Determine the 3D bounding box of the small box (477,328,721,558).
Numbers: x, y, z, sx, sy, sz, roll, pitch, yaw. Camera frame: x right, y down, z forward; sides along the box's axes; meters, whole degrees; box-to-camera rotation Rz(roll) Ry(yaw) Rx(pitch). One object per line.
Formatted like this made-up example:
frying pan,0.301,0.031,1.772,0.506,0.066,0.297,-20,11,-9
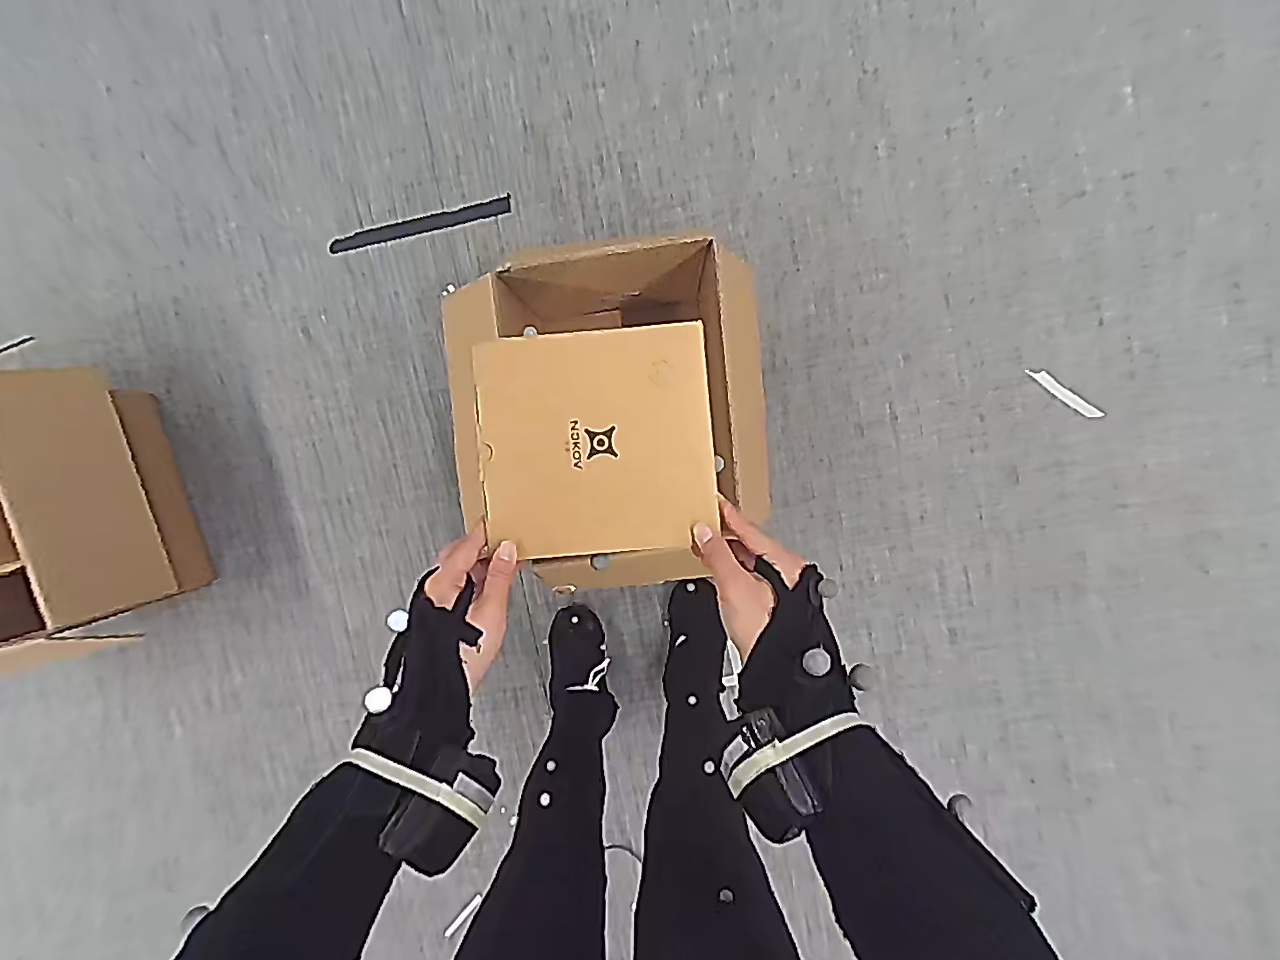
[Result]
small box,-0.029,-0.028,0.487,0.179,0.176,0.168,-5,89,2
